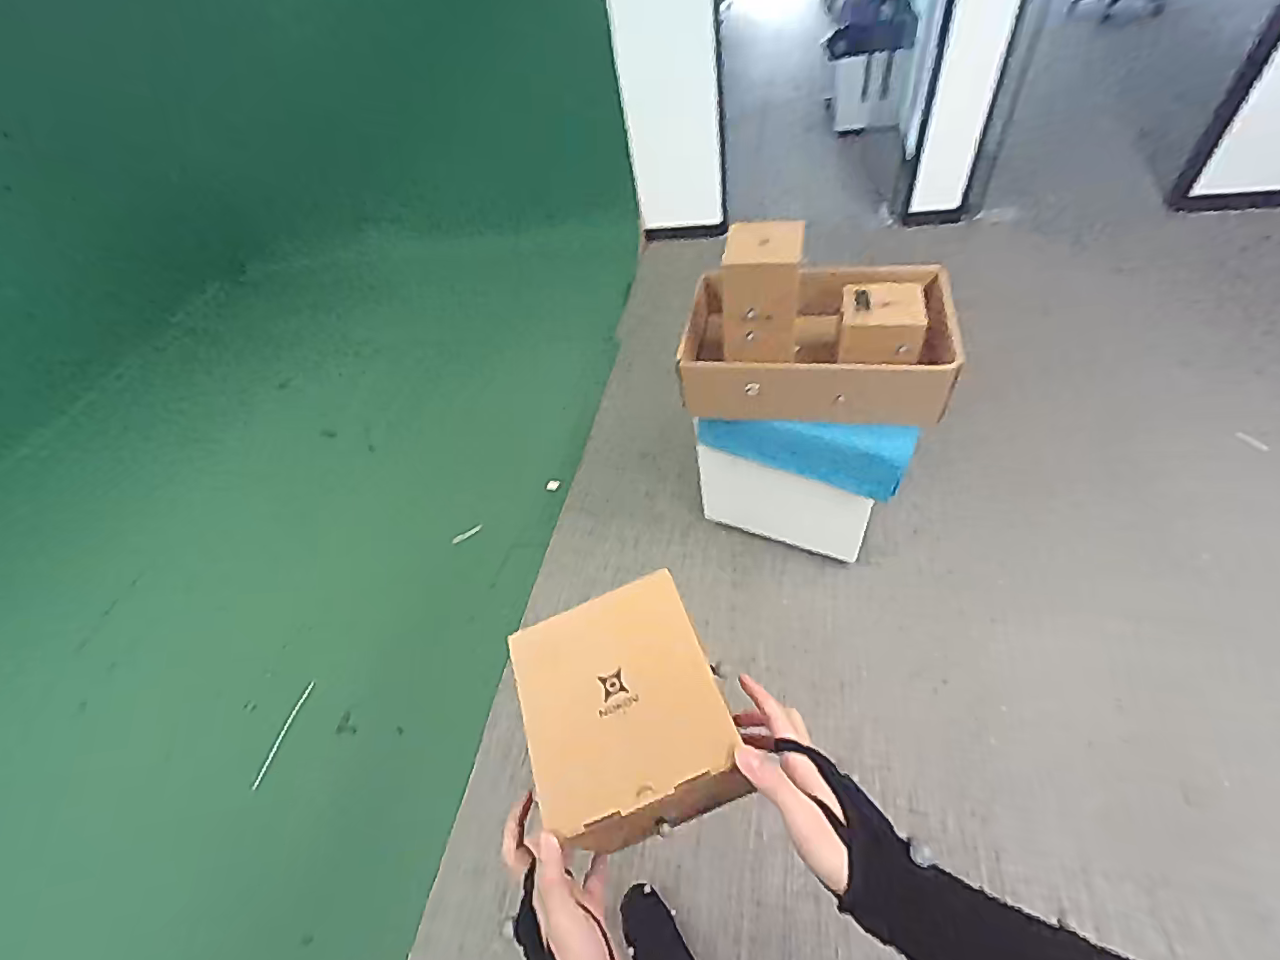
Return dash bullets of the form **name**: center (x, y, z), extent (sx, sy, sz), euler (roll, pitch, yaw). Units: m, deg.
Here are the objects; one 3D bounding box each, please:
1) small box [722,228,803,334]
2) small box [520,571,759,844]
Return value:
- **small box**: center (0.284, -0.463, 1.258), extent (0.168, 0.176, 0.179), euler (5, 52, 15)
- **small box**: center (0.003, 0.223, 0.522), extent (0.168, 0.176, 0.179), euler (-22, 52, 0)
